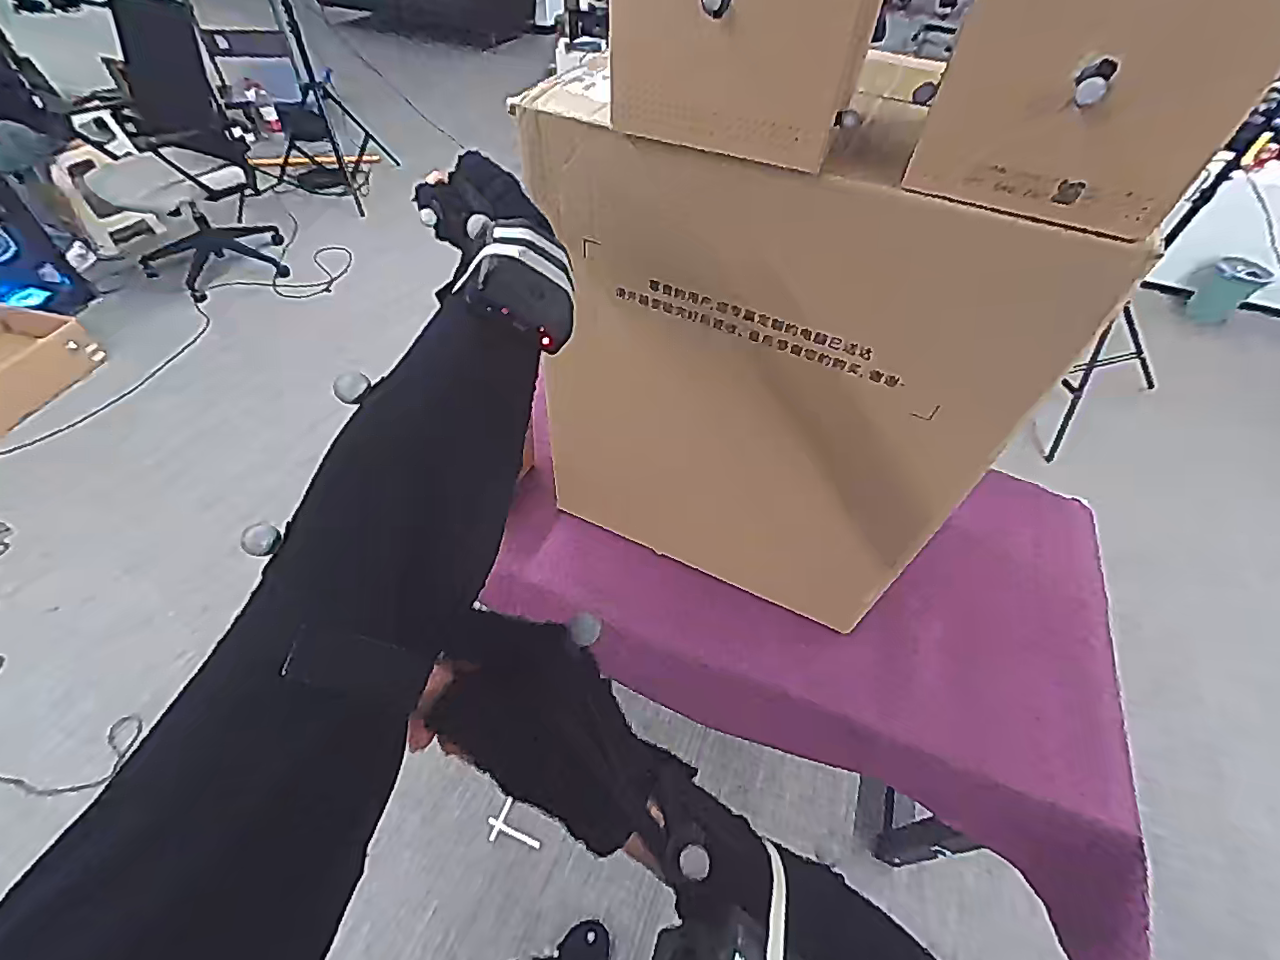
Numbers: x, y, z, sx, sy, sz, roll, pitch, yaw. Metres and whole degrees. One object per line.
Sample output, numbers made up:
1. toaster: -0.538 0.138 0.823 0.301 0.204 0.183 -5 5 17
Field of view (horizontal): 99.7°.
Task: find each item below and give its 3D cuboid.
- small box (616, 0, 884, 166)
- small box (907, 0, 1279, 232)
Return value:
1. small box: 0.092 -0.367 0.416 0.179 0.176 0.168 19 52 13
2. small box: 0.308 -0.300 0.373 0.168 0.176 0.179 22 54 14
